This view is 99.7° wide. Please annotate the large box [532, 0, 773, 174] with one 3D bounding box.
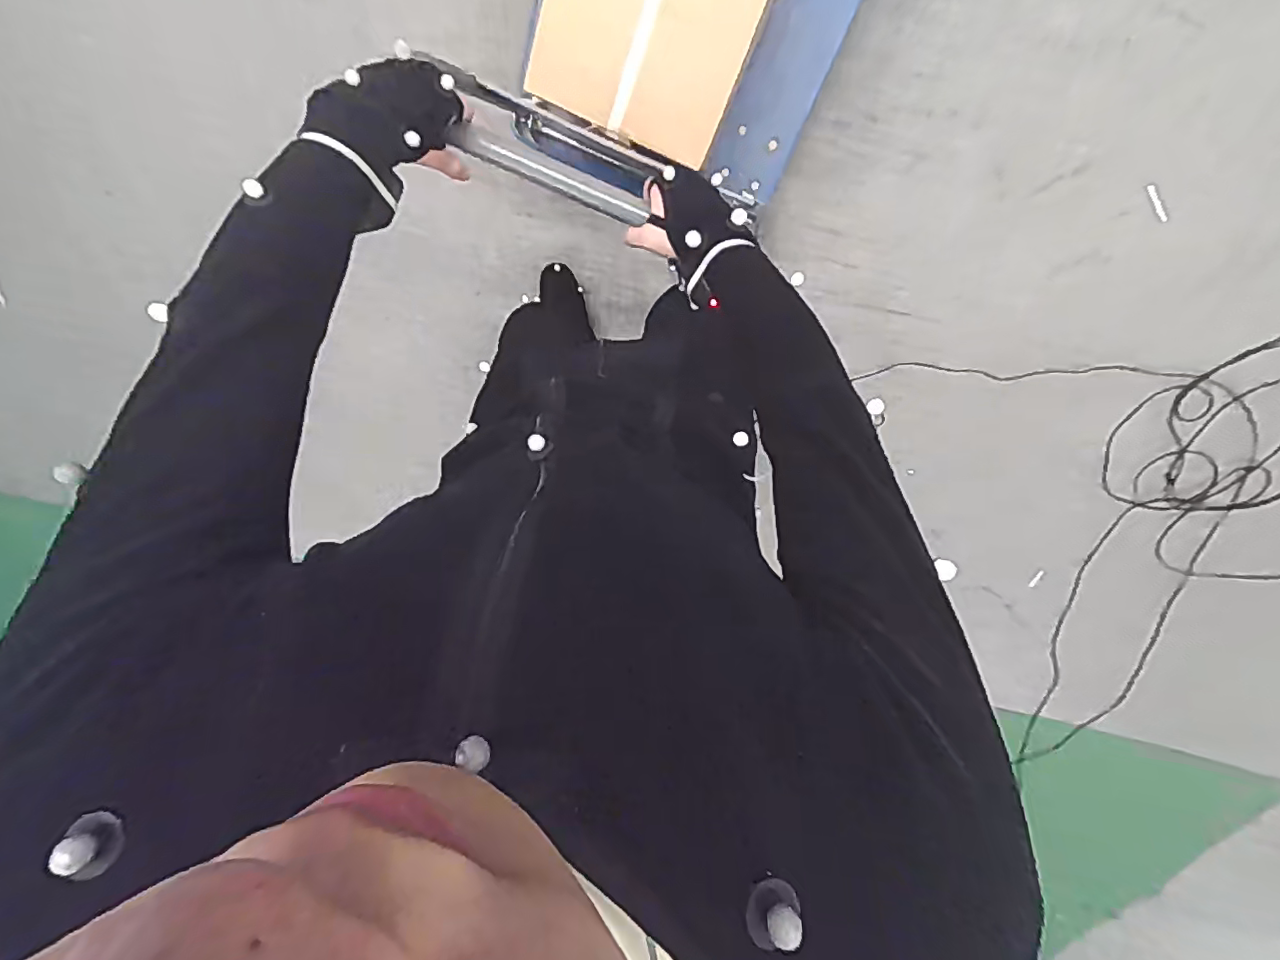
[{"bbox_3d":[0.050,-0.800,0.929,0.320,0.320,0.408,22,119,-5],"label":"large box"}]
